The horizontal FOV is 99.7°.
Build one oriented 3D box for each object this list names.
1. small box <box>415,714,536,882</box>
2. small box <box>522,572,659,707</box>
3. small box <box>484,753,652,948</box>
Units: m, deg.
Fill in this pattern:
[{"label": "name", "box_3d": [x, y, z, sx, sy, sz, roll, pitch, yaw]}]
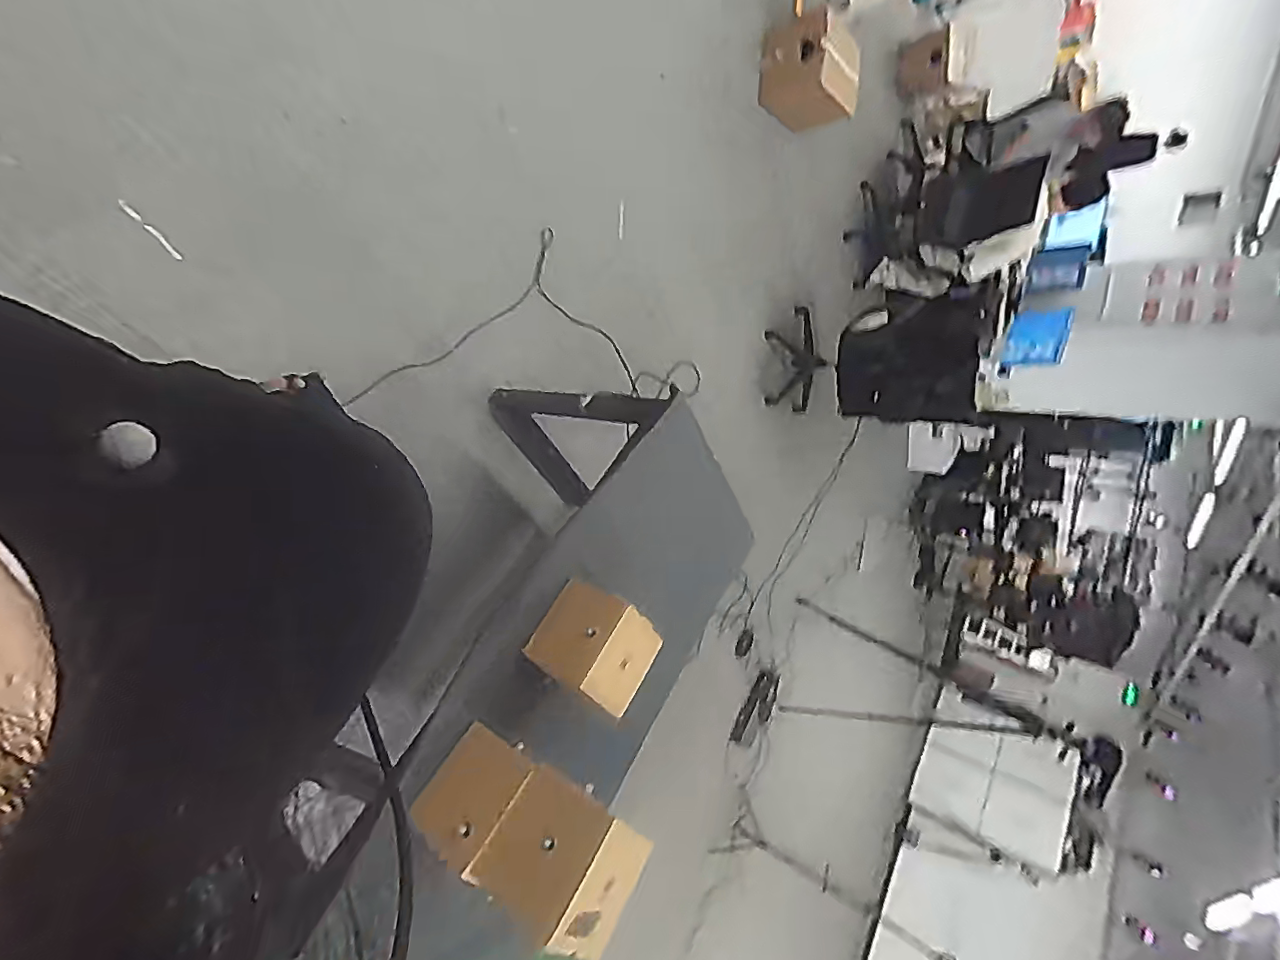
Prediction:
[{"label": "small box", "box_3d": [-0.255, 0.543, 0.927, 0.179, 0.176, 0.168, -54, 137, -29]}, {"label": "small box", "box_3d": [-0.097, 0.307, 1.068, 0.179, 0.176, 0.168, -56, 137, -24]}, {"label": "small box", "box_3d": [-0.116, 0.568, 0.842, 0.179, 0.176, 0.168, -55, 138, -28]}]
